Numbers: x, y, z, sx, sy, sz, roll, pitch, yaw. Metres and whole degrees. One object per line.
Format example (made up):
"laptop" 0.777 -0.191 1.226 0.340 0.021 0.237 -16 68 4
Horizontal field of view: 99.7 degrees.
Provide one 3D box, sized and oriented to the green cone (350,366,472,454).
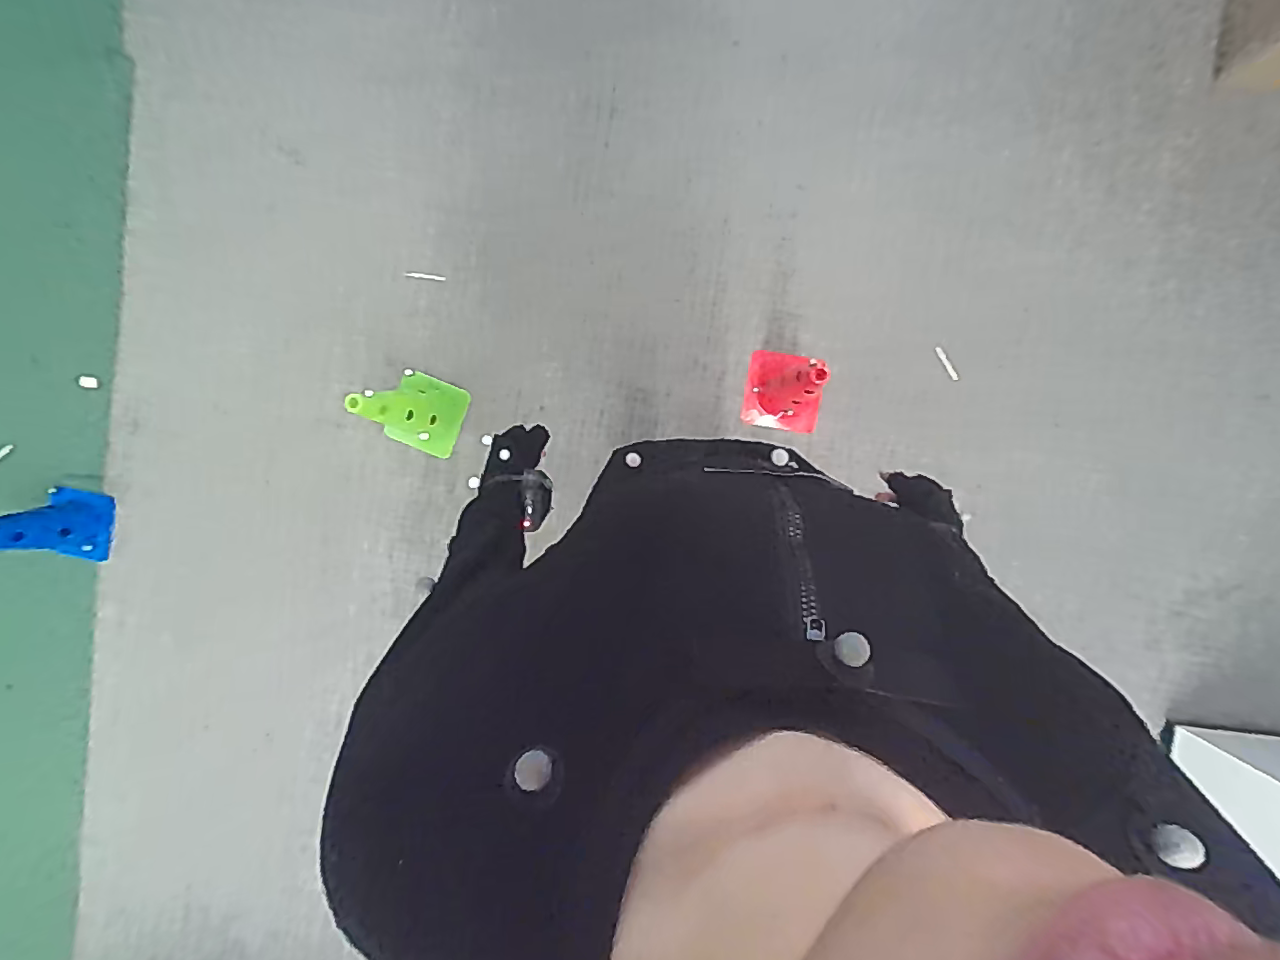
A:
"green cone" -0.591 -0.184 1.322 0.202 0.368 0.200 21 94 2
